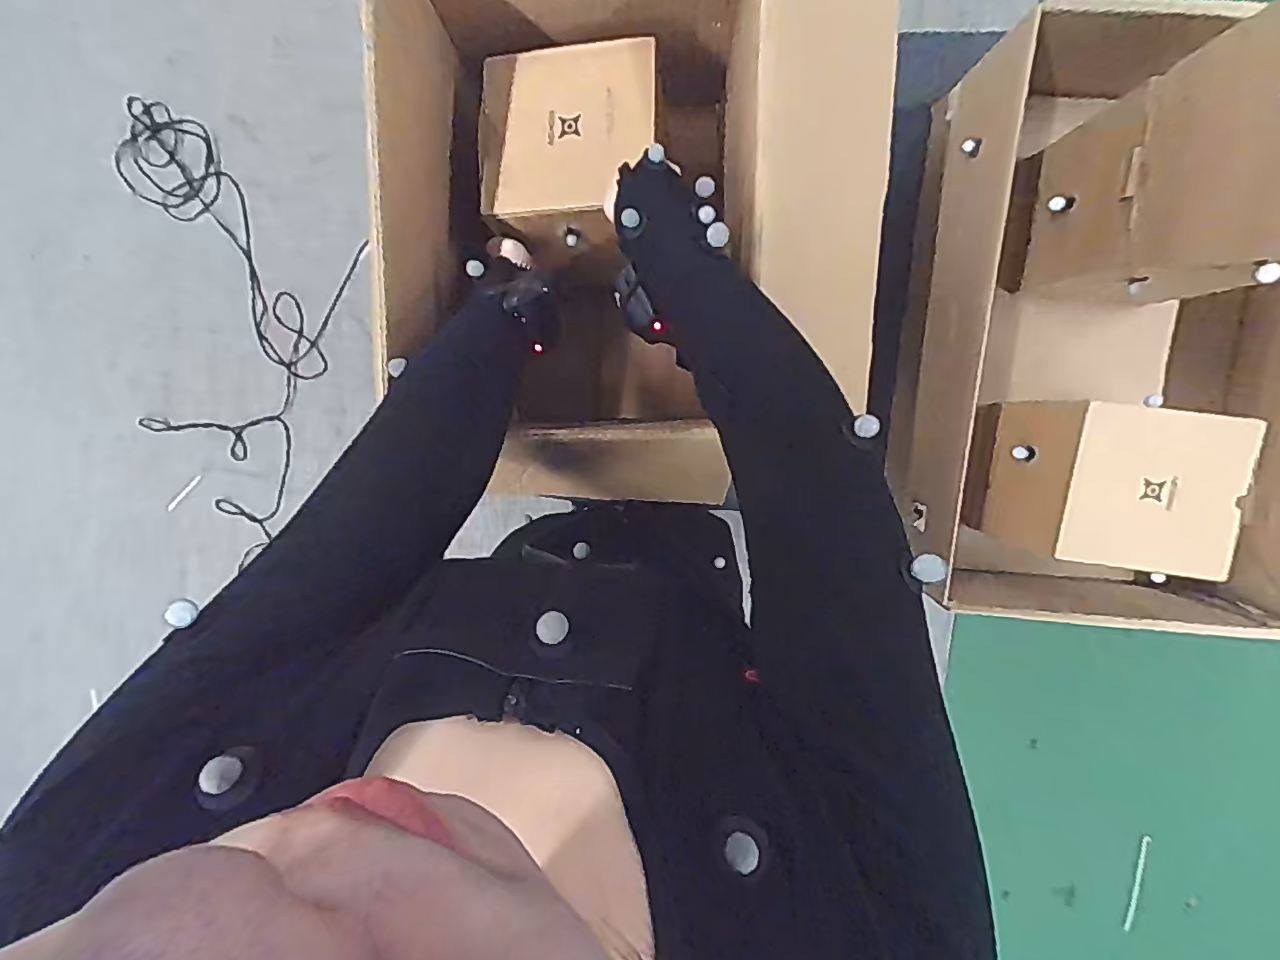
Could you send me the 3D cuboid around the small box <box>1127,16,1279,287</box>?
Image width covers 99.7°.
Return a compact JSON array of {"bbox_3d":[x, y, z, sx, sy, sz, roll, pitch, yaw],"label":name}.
[{"bbox_3d":[0.545,-0.264,0.427,0.168,0.176,0.179,4,99,1],"label":"small box"}]
